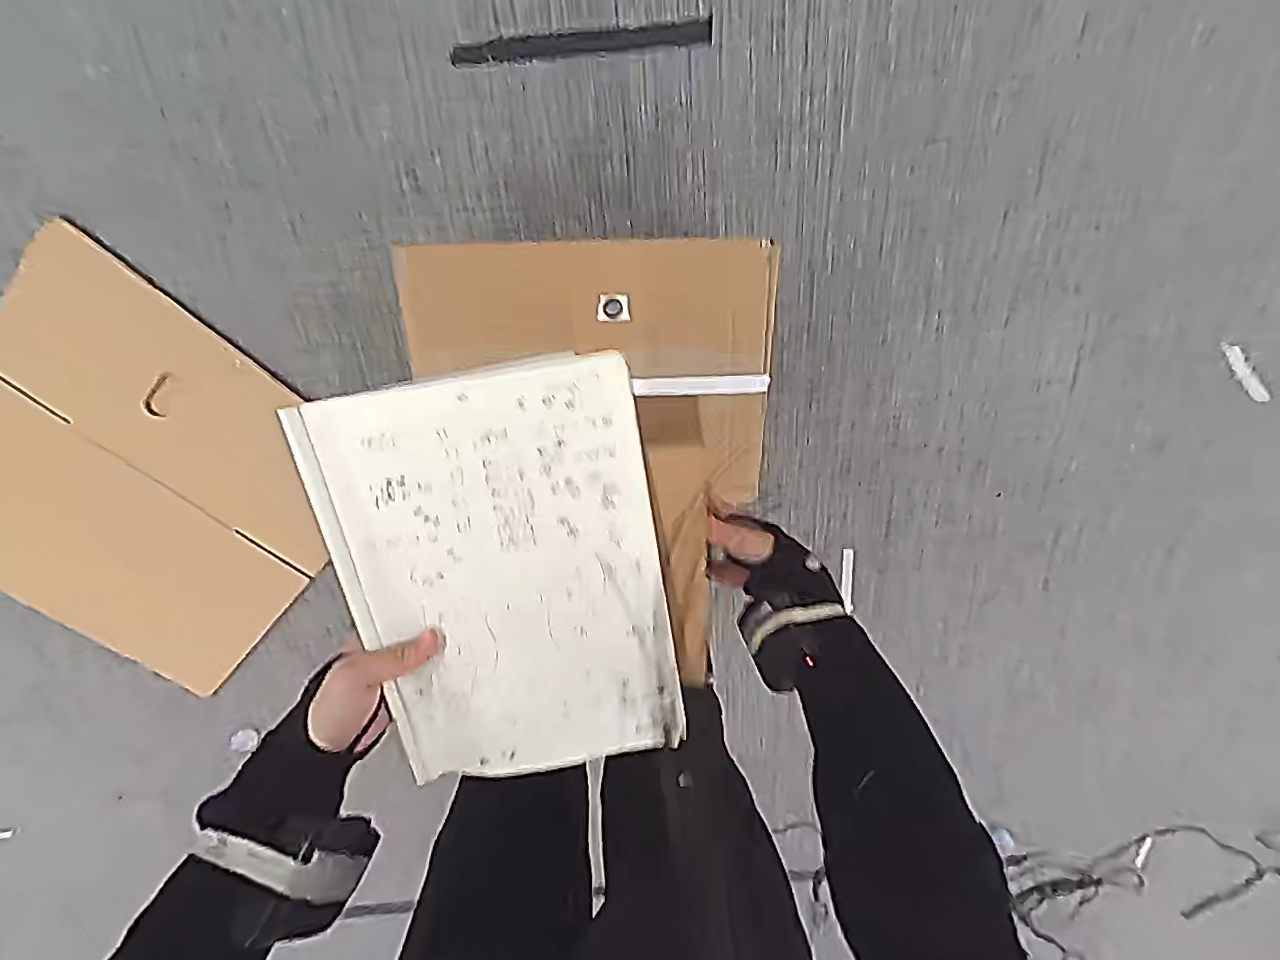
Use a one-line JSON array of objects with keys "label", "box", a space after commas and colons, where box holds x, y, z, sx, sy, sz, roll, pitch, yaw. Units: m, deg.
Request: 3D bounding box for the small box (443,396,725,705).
[{"label": "small box", "box": [-0.026, 0.040, 0.410, 0.168, 0.176, 0.179, 0, 110, 4]}]
